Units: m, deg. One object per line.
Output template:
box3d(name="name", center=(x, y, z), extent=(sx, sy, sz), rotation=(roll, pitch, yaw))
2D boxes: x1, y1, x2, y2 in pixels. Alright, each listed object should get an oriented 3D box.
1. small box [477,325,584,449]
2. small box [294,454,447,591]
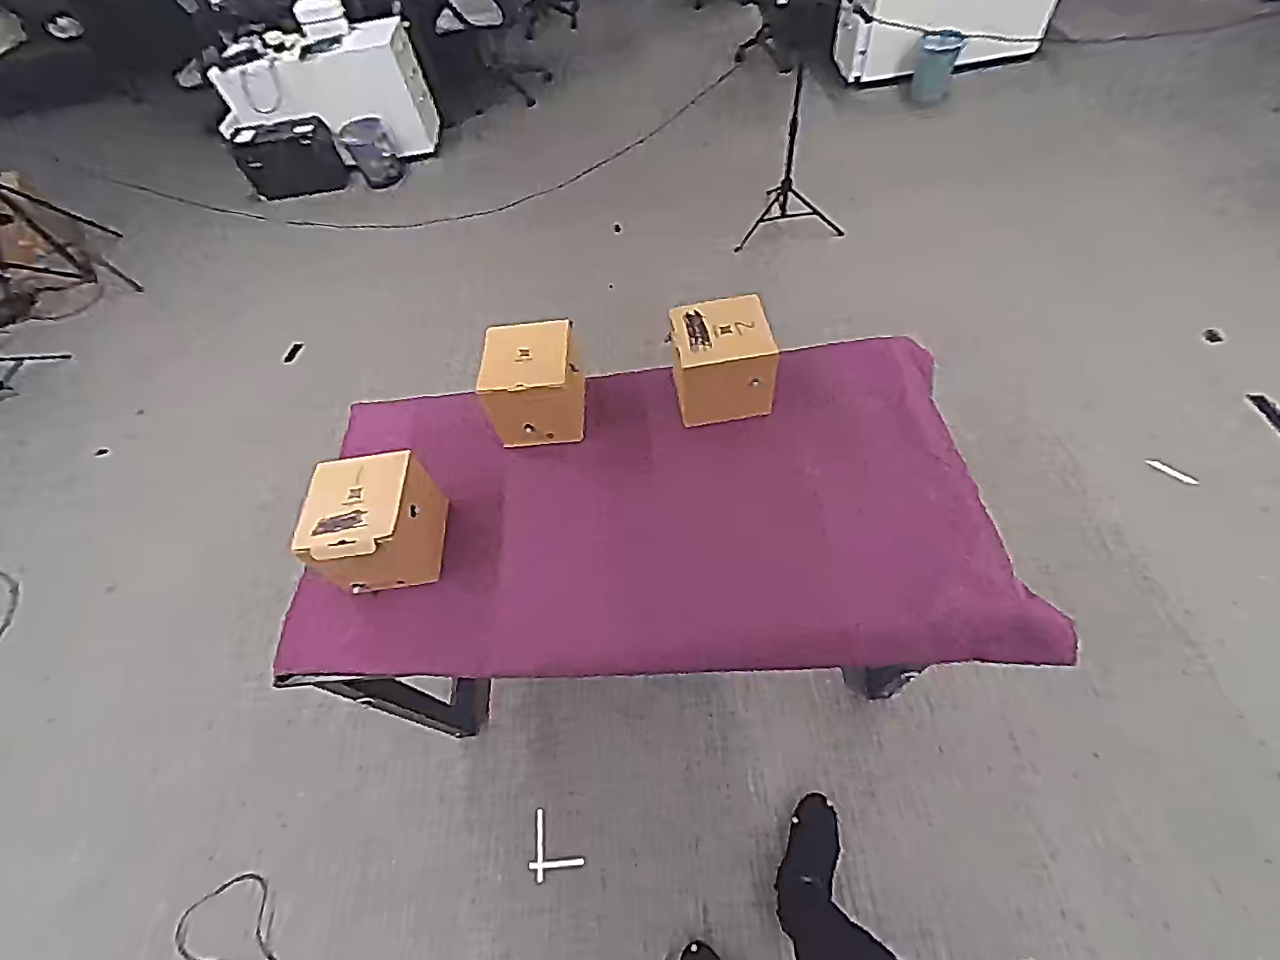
box3d(name="small box", center=(-0.210, -0.184, 1.086), extent=(0.168, 0.176, 0.179), rotation=(-5, 57, 4))
box3d(name="small box", center=(-0.455, 0.082, 0.946), extent=(0.168, 0.176, 0.179), rotation=(-8, 55, 2))
